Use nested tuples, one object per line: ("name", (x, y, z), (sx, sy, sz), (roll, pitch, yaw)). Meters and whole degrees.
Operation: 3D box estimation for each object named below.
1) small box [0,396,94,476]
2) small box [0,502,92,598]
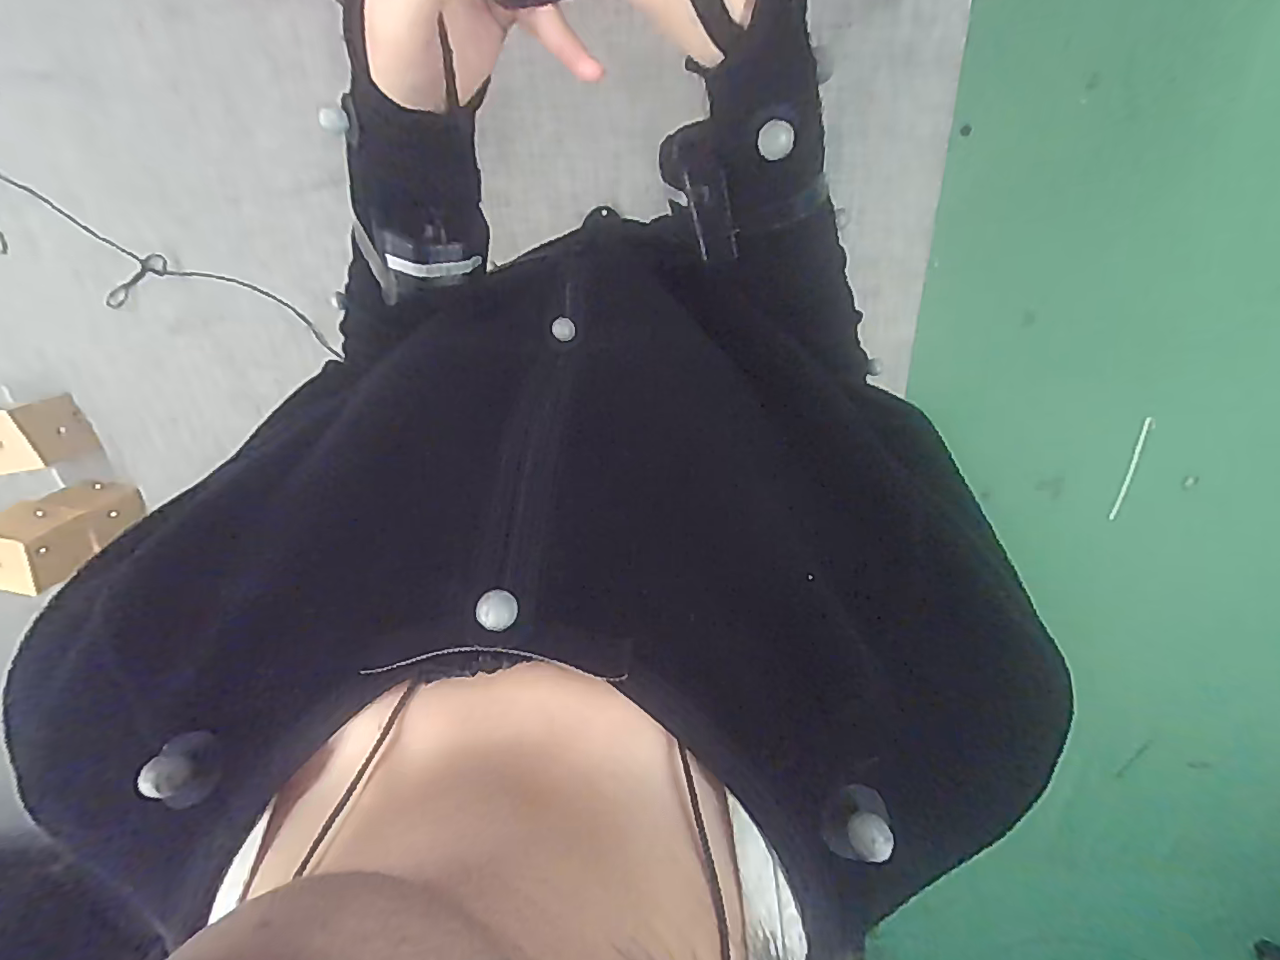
("small box", (-1.684, -0.125, 1.495), (0.179, 0.176, 0.168), (-8, 114, 6))
("small box", (-1.648, 0.184, 1.461), (0.168, 0.176, 0.179), (14, 113, -4))
